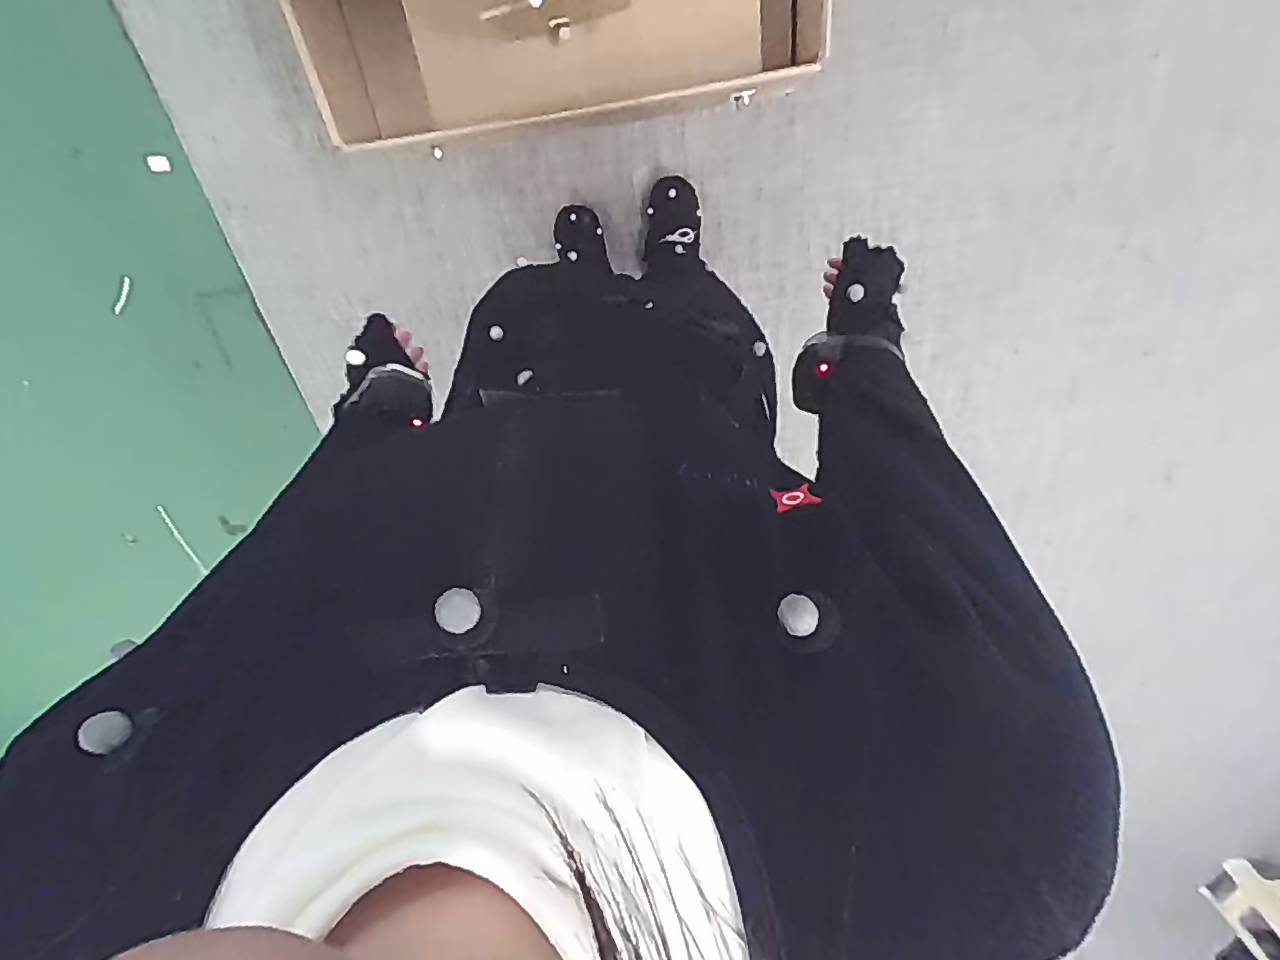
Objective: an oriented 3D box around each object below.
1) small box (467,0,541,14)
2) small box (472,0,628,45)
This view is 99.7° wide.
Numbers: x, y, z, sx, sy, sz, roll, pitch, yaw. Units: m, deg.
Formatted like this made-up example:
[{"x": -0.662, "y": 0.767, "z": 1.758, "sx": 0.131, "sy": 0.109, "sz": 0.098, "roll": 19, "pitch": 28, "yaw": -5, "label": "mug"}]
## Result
[{"x": -0.122, "y": -0.552, "z": 0.472, "sx": 0.168, "sy": 0.176, "sz": 0.179, "roll": -7, "pitch": 121, "yaw": 9, "label": "small box"}, {"x": -0.114, "y": -0.634, "z": 0.613, "sx": 0.168, "sy": 0.176, "sz": 0.179, "roll": -9, "pitch": 121, "yaw": 10, "label": "small box"}]
